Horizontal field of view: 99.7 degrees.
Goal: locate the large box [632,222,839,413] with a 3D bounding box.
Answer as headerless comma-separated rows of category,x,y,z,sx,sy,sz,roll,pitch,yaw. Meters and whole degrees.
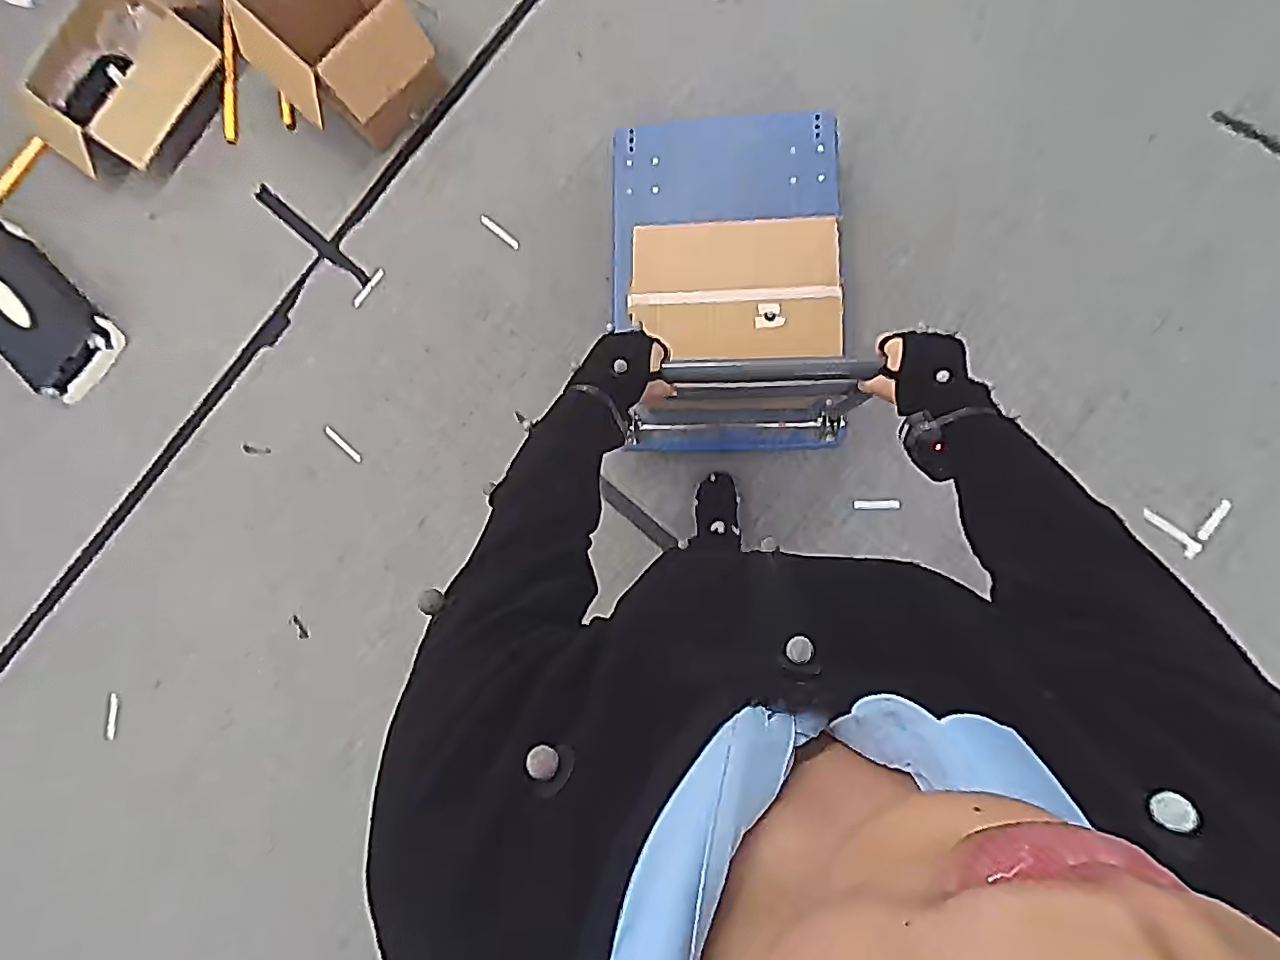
large box,0.193,-0.339,1.212,0.408,0.320,0.320,0,85,5
